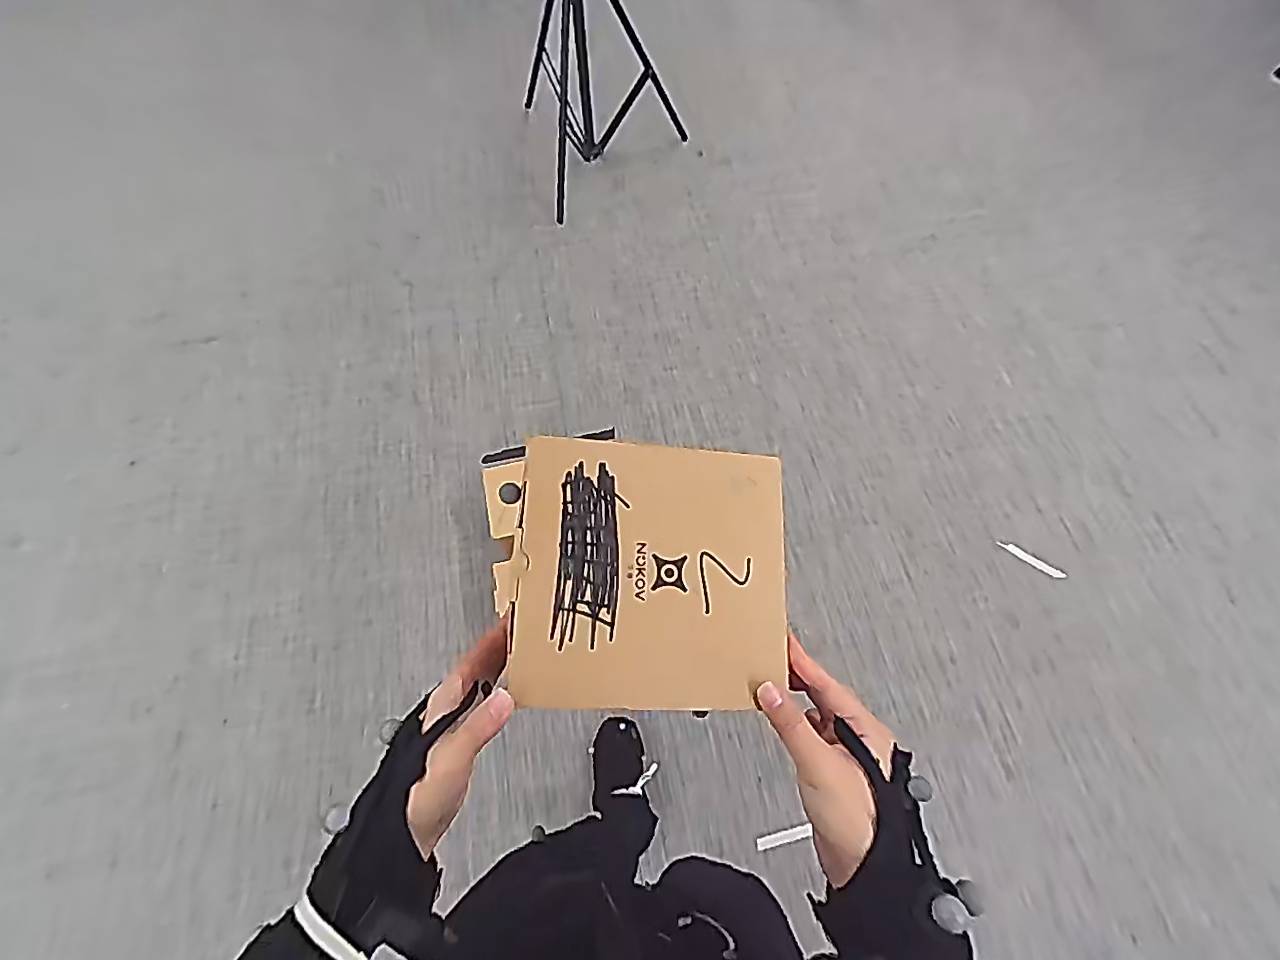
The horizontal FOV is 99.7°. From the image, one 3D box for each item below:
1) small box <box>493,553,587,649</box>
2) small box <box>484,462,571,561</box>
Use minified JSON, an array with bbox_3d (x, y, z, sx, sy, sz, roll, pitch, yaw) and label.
[{"bbox_3d":[-0.219,0.279,1.225,0.179,0.176,0.168,-12,68,-5],"label":"small box"},{"bbox_3d":[-0.269,0.075,1.305,0.168,0.176,0.179,-13,68,-5],"label":"small box"}]
